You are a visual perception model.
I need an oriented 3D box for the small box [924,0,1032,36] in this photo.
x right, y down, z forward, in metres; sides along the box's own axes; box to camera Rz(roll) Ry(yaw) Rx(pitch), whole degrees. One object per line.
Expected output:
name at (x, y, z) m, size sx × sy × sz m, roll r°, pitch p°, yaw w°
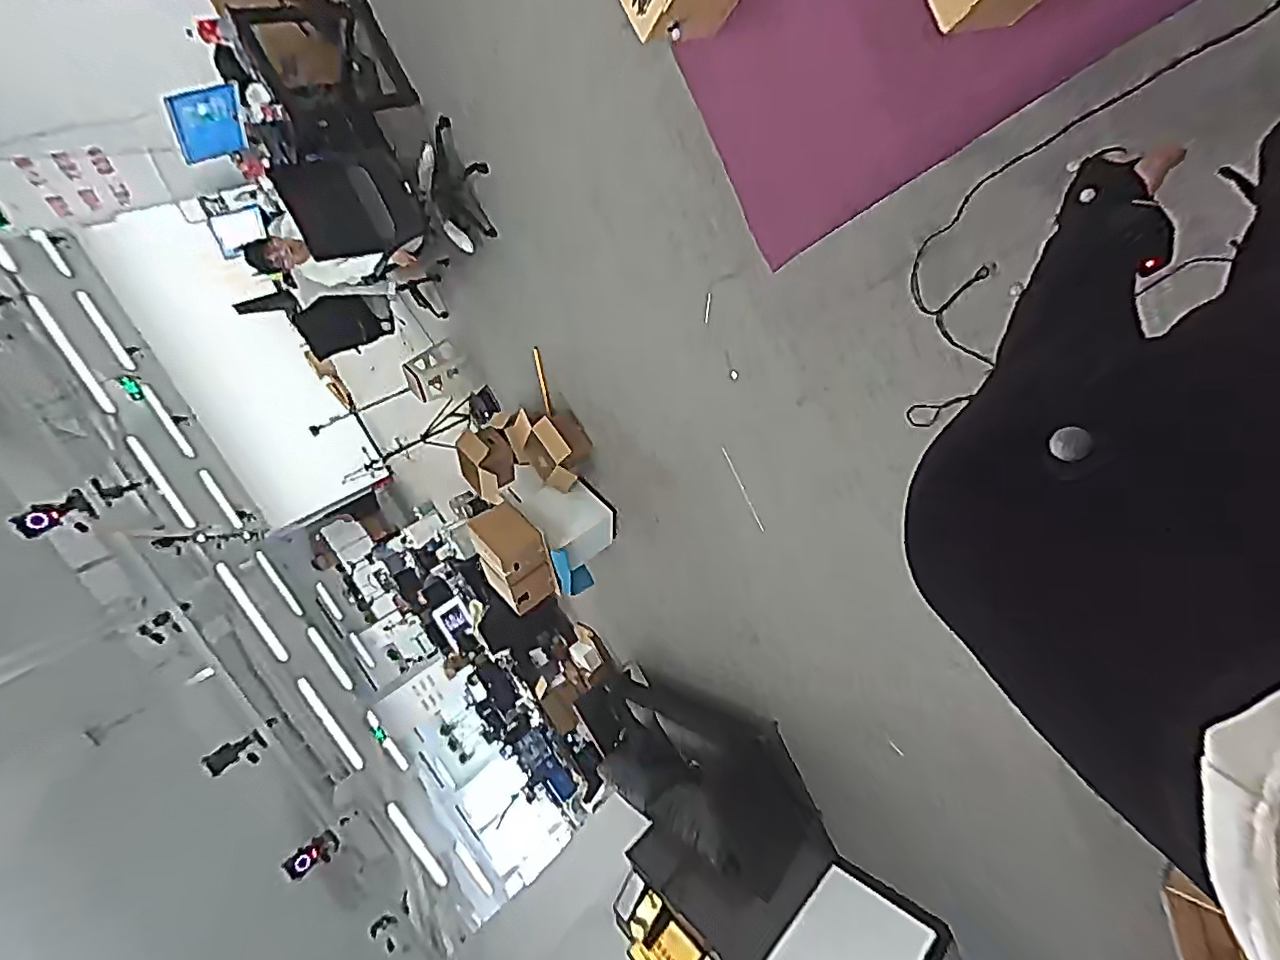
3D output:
small box at (0.376, -0.591, 0.528) m, size 0.168 × 0.176 × 0.179 m, roll -17°, pitch 103°, yaw 61°
